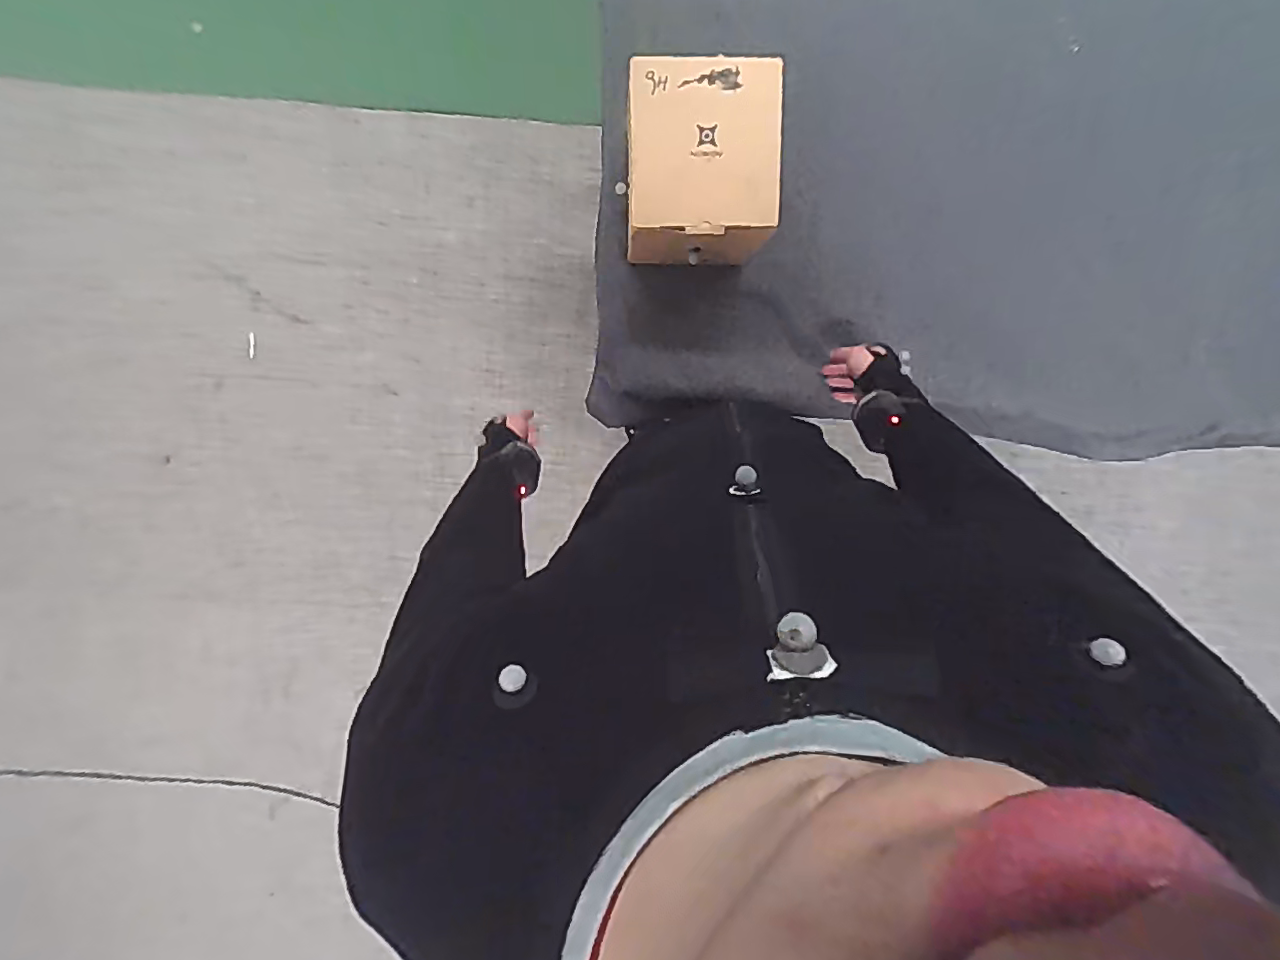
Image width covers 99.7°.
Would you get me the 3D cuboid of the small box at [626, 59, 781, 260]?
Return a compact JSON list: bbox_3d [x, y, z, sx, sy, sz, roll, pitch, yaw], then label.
[{"bbox_3d":[0.068,-0.383,0.678,0.168,0.176,0.179,-1,101,-3],"label":"small box"}]
